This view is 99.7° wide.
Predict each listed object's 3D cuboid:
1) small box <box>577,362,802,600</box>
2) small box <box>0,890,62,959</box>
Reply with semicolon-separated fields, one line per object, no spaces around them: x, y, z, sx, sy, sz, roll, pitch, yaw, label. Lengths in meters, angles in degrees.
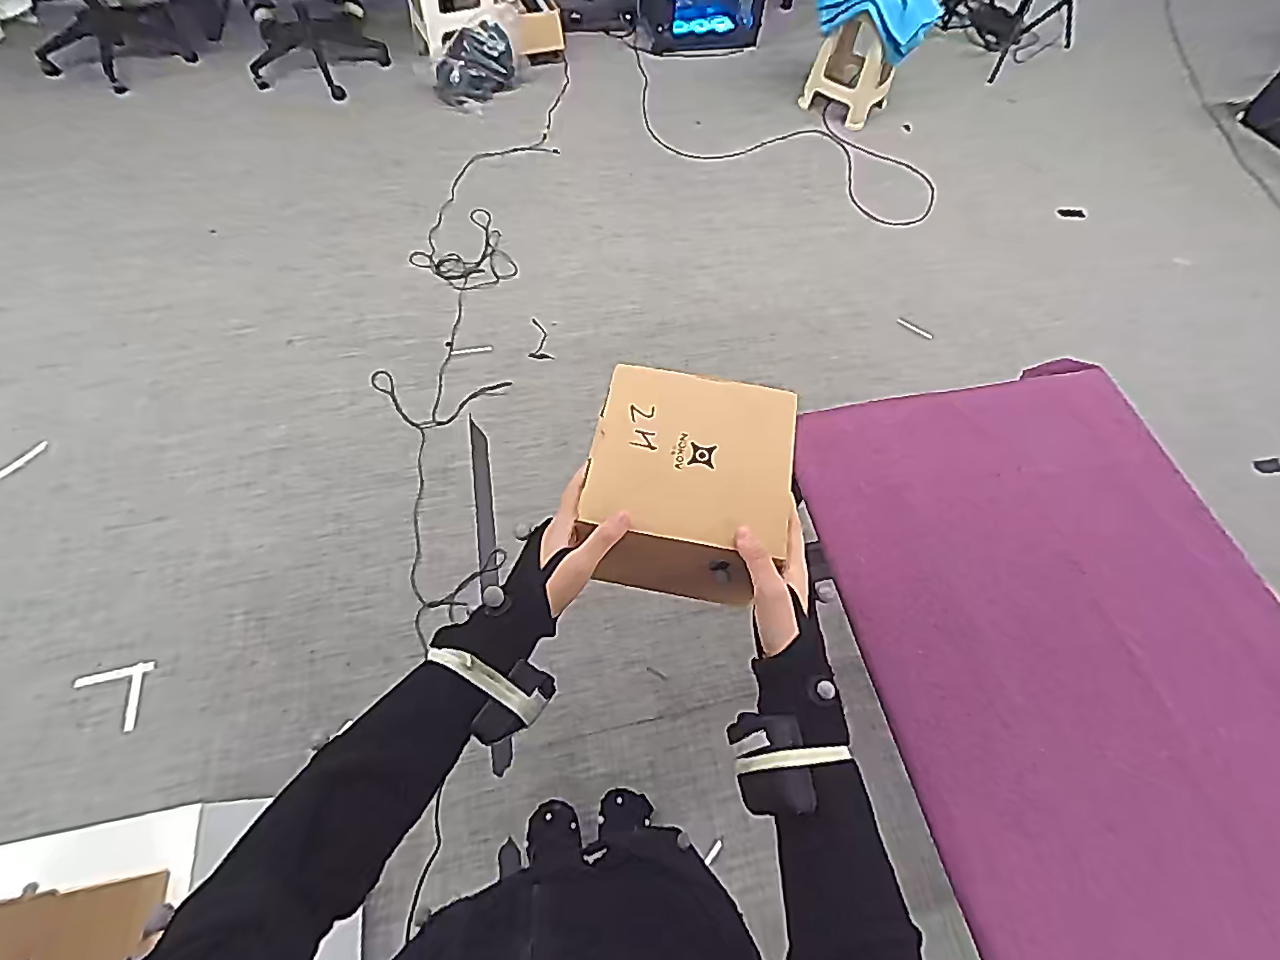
0.047;0.012;0.537;0.179;0.176;0.168;10;64;4;small box
-0.645;0.453;0.426;0.179;0.176;0.168;-7;63;-7;small box
